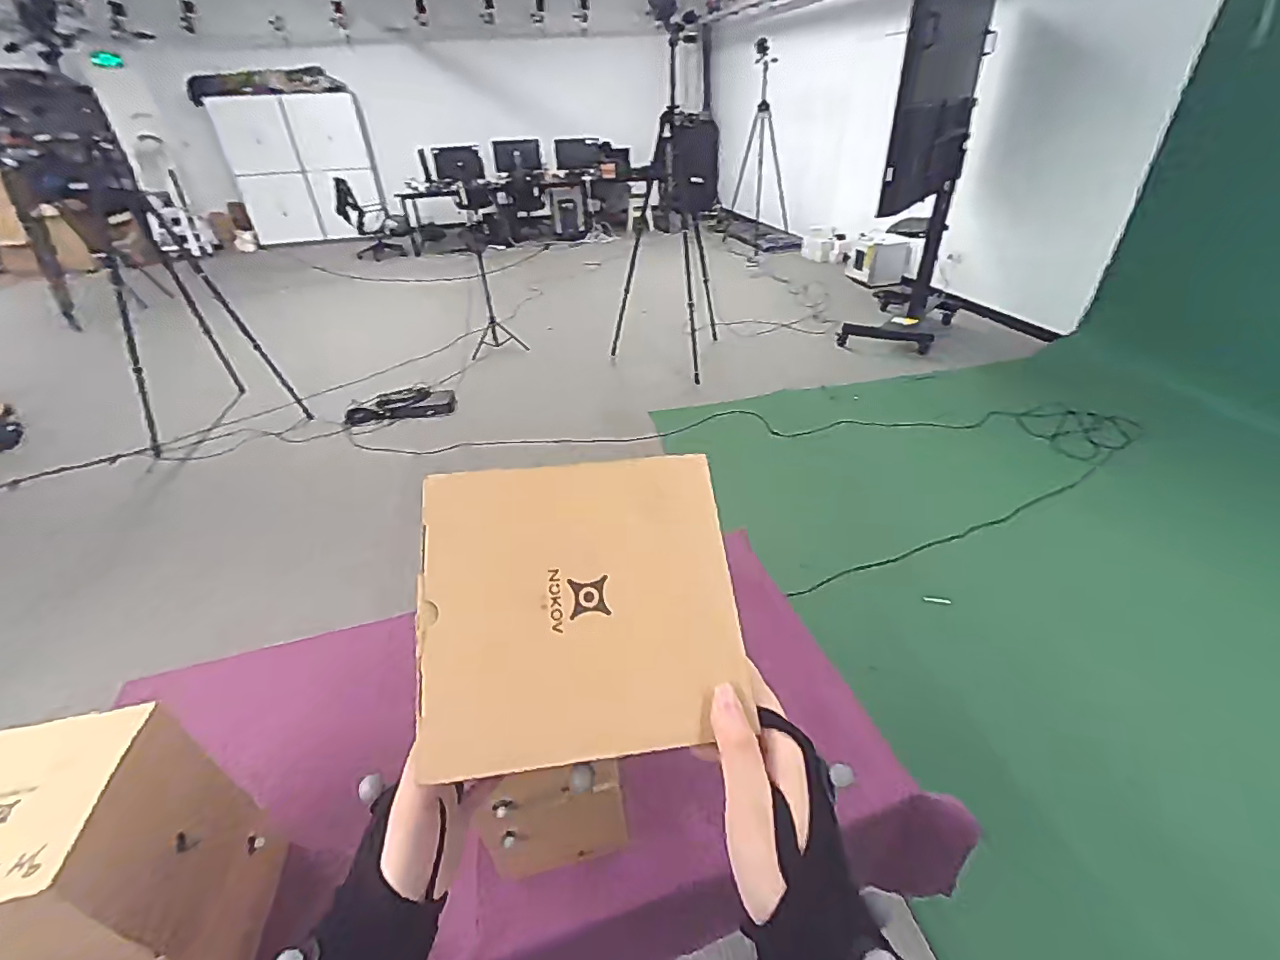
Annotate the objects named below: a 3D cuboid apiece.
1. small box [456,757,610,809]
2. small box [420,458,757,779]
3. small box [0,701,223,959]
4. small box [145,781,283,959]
[{"bbox_3d":[-0.138,0.257,0.645,0.168,0.176,0.179,-12,34,-13],"label":"small box"},{"bbox_3d":[-0.037,0.097,0.378,0.179,0.176,0.168,-5,67,-6],"label":"small box"},{"bbox_3d":[-0.562,0.359,0.535,0.168,0.176,0.179,-10,34,-7],"label":"small box"},{"bbox_3d":[-0.553,0.494,0.629,0.168,0.176,0.179,-9,36,-8],"label":"small box"}]
